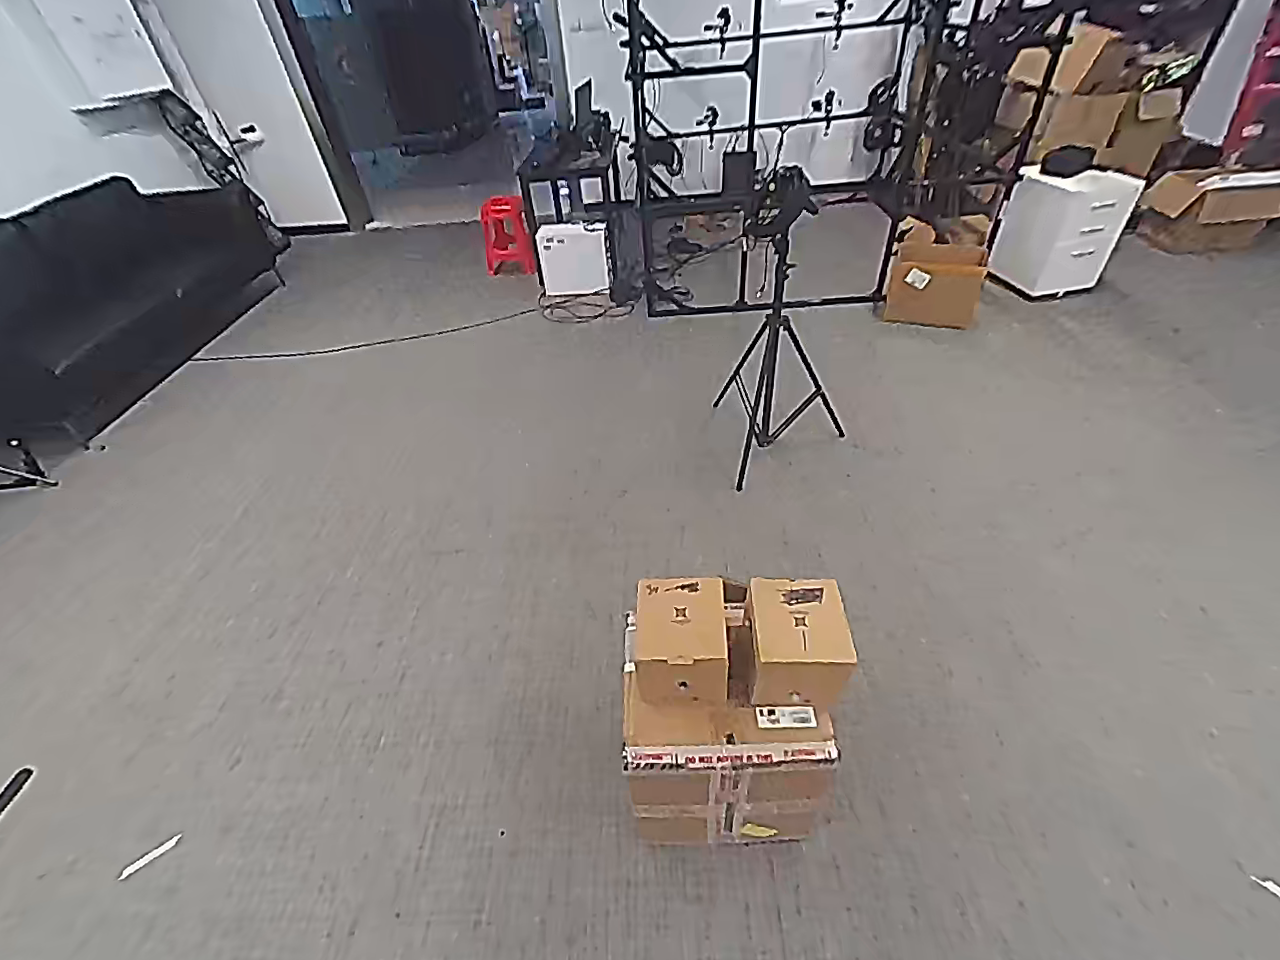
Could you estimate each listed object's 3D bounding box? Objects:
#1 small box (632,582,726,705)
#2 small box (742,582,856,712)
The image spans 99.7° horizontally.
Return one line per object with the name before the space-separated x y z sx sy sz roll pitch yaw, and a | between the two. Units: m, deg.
small box | 0.080 0.318 1.043 0.168 0.176 0.179 -2 44 6
small box | 0.289 0.315 1.027 0.168 0.176 0.179 0 44 3
